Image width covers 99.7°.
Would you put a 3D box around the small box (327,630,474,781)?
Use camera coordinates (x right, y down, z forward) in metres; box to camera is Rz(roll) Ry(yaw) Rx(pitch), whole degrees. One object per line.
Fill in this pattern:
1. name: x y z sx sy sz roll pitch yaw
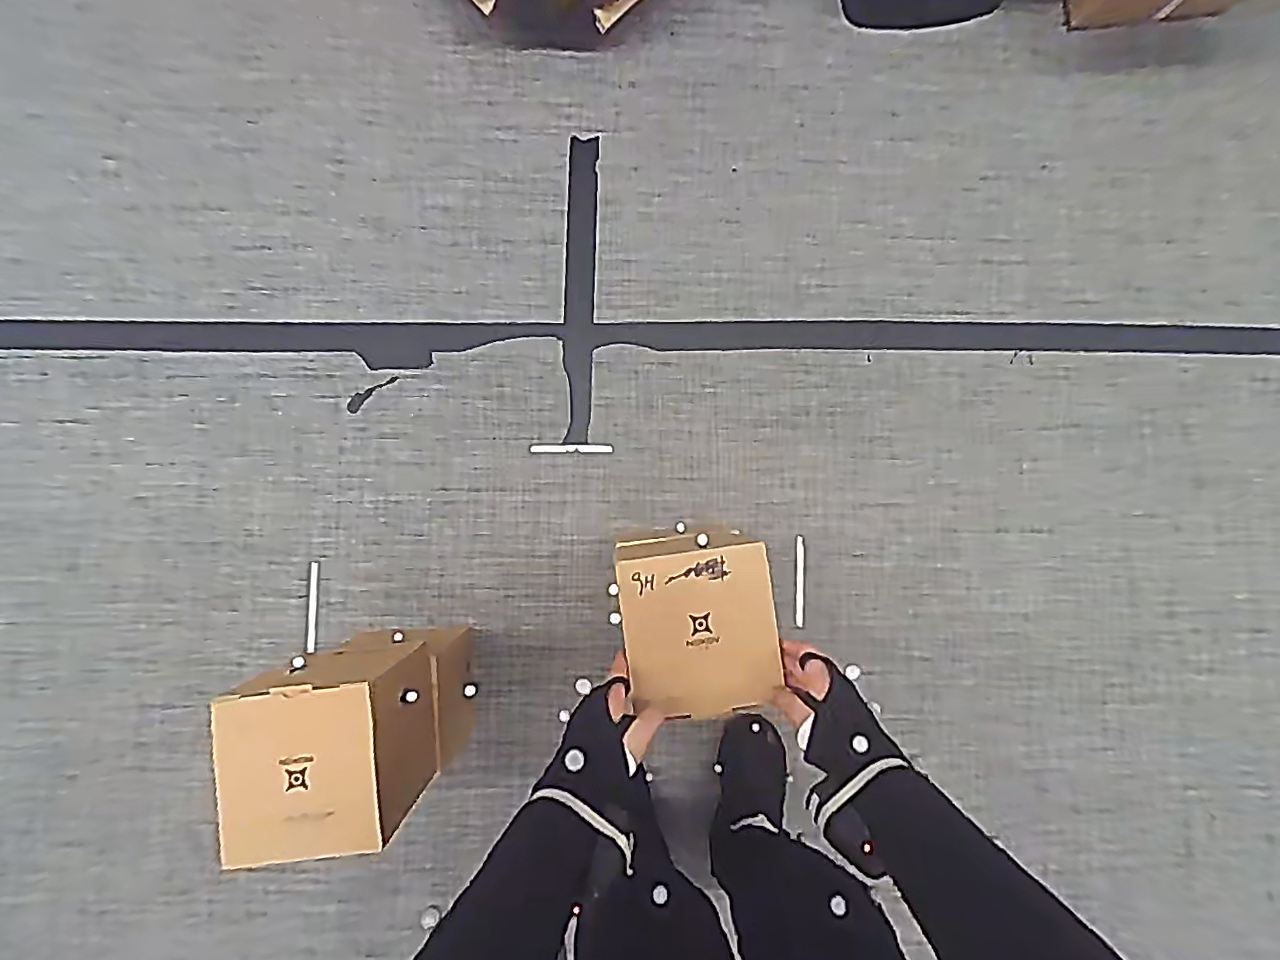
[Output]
1. small box: -0.357 0.325 0.799 0.179 0.176 0.168 -3 88 -2

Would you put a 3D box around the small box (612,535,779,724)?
1. small box: 0.059 0.168 0.658 0.168 0.176 0.179 -7 89 -2

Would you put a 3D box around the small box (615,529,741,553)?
1. small box: 0.056 0.166 0.822 0.179 0.176 0.168 -6 88 -2

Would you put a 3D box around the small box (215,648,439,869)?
1. small box: -0.351 0.307 0.637 0.168 0.176 0.179 -6 89 -1
